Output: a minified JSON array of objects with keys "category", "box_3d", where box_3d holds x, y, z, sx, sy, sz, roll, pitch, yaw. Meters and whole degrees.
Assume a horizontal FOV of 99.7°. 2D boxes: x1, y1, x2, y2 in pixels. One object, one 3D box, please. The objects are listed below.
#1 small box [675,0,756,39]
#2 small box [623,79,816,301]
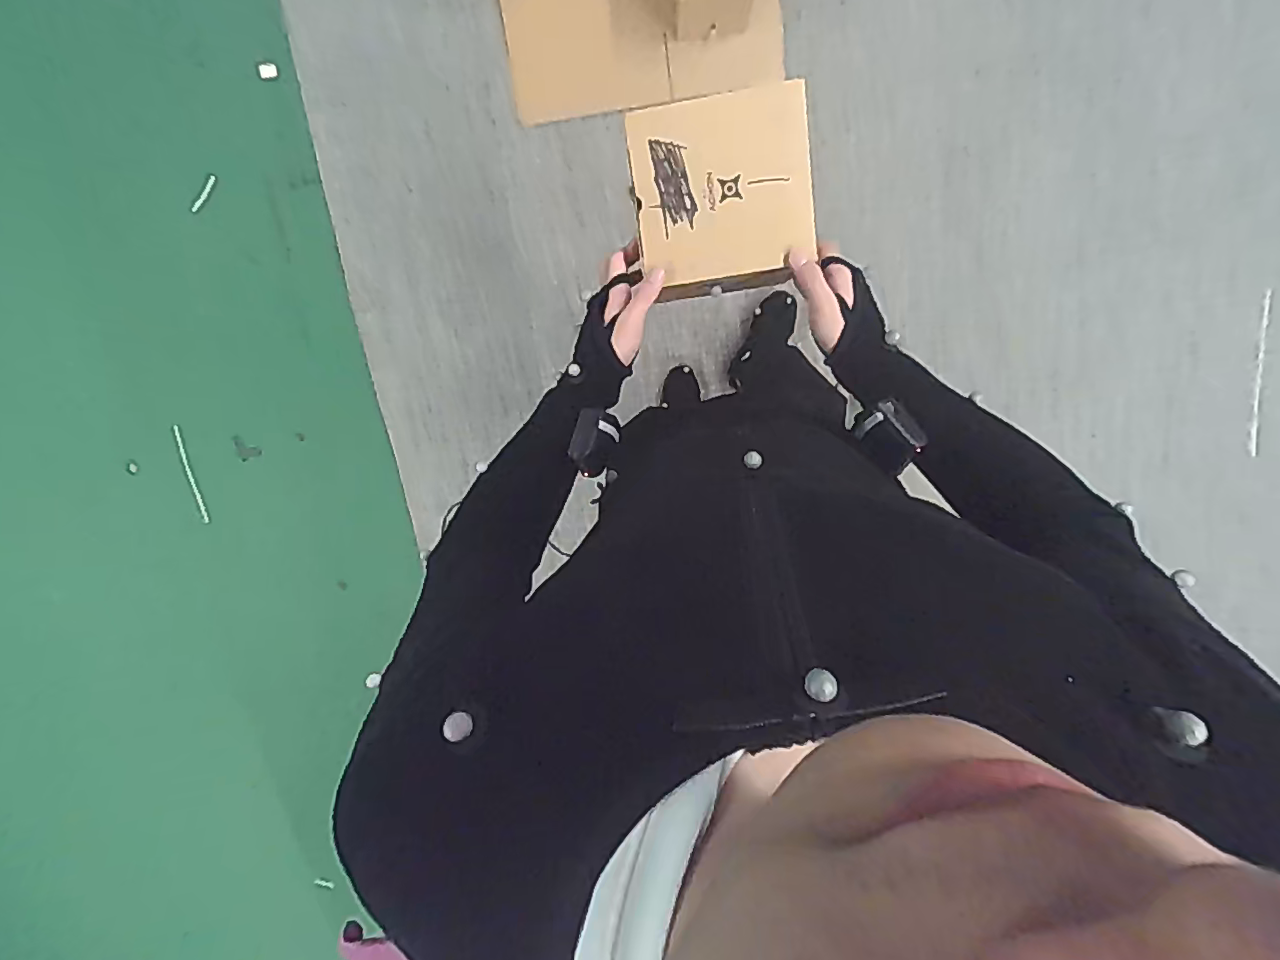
[{"category":"small box","box_3d":[0.172,-1.174,1.262,0.179,0.176,0.168,-5,103,3]},{"category":"small box","box_3d":[0.086,-0.304,0.608,0.179,0.176,0.168,-7,103,6]}]
